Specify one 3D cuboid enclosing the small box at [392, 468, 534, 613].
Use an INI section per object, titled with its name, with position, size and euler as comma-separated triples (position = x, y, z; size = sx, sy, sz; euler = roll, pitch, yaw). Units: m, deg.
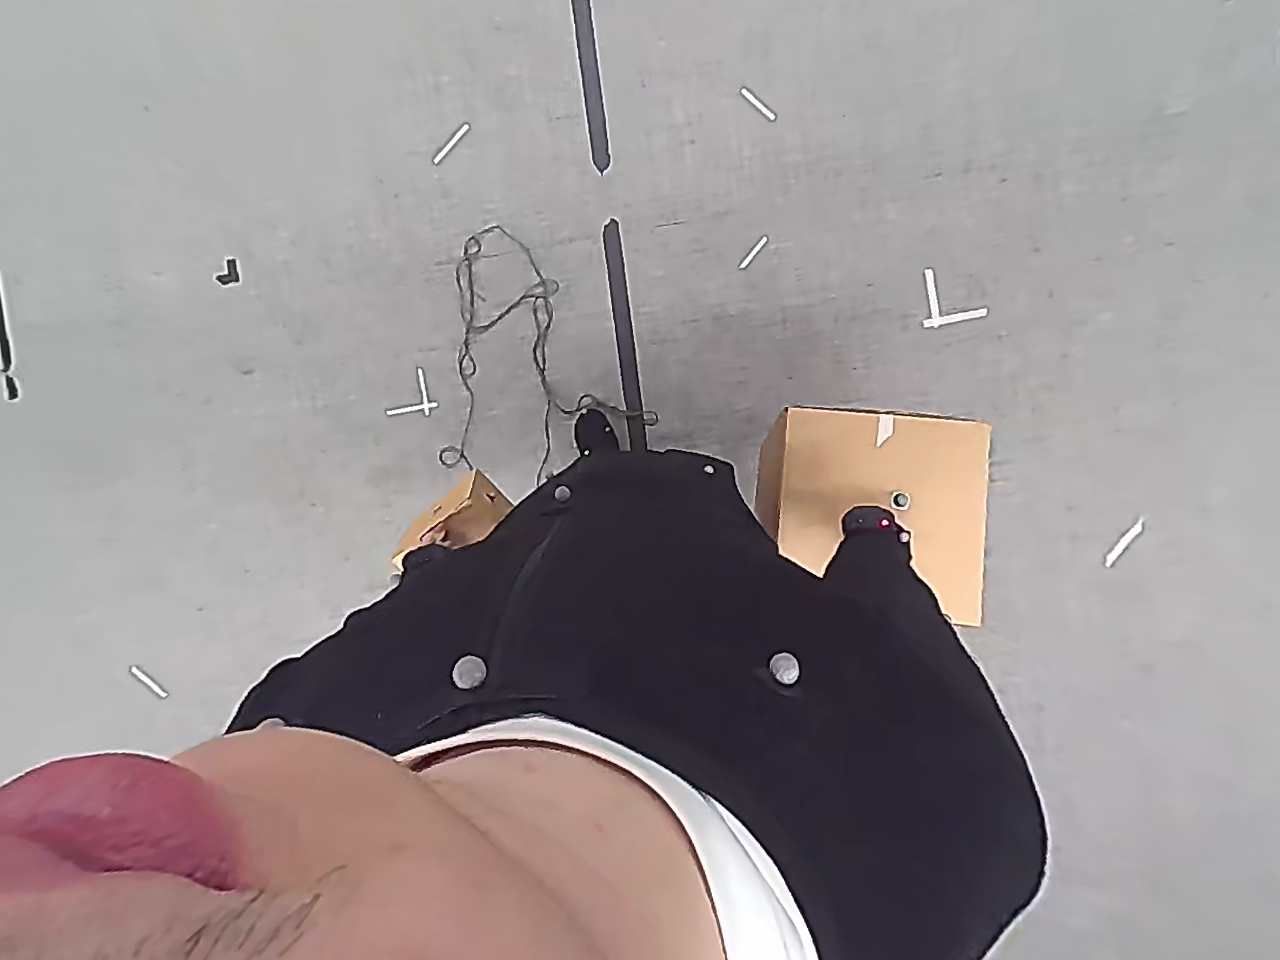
[small box]
position = -0.306, 0.112, 0.974
size = 0.168, 0.179, 0.176
euler = -38, 112, 3
